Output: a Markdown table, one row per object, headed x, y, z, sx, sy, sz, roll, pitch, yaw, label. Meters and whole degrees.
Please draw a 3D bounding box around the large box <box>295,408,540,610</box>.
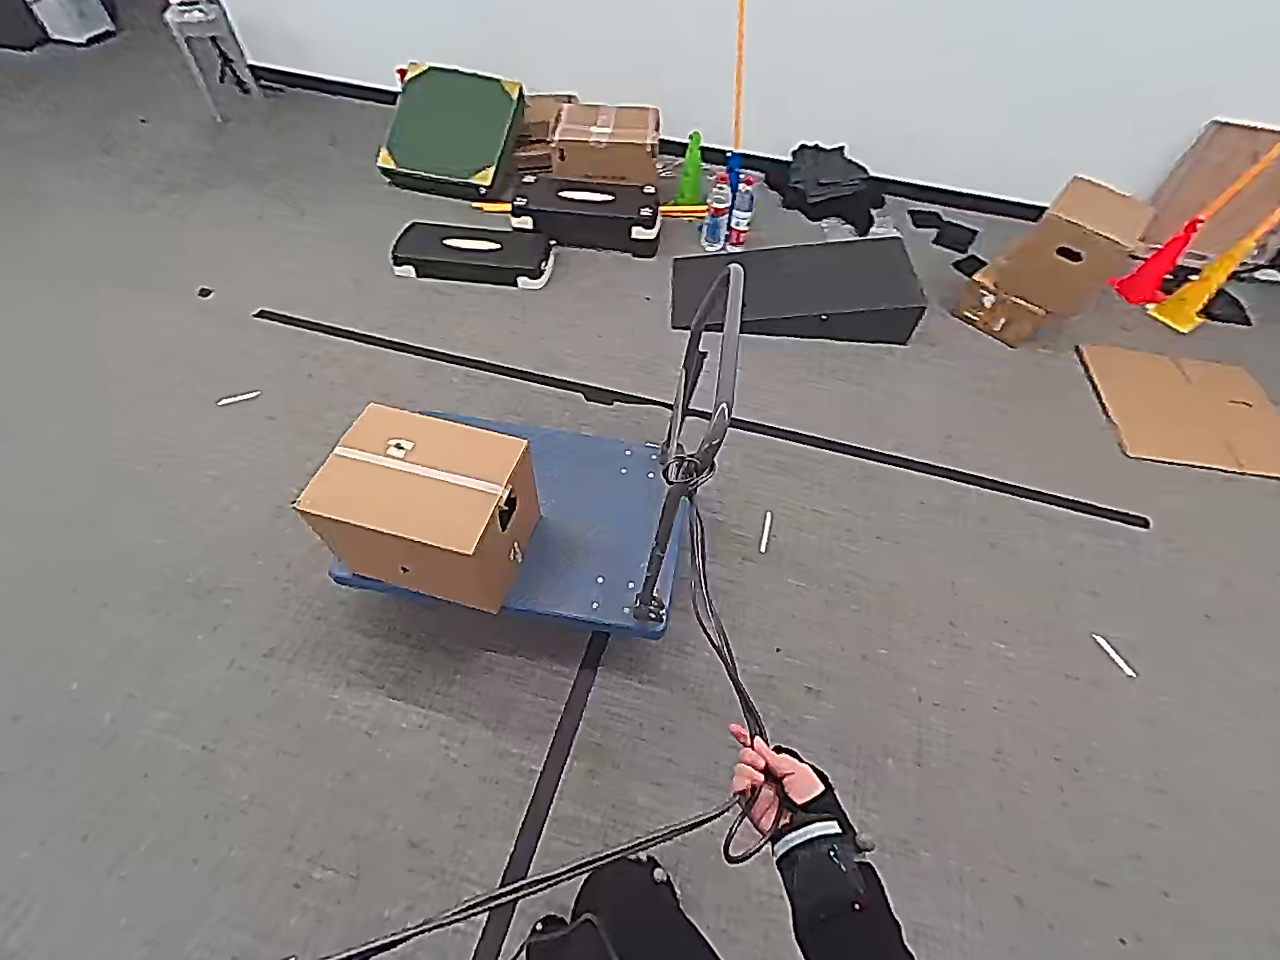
| x | y | z | sx | sy | sz | roll | pitch | yaw | label |
| --- | --- | --- | --- | --- | --- | --- | --- | --- | --- |
| -0.490 | 0.076 | 1.297 | 0.408 | 0.320 | 0.320 | 13 | 54 | 6 | large box |
